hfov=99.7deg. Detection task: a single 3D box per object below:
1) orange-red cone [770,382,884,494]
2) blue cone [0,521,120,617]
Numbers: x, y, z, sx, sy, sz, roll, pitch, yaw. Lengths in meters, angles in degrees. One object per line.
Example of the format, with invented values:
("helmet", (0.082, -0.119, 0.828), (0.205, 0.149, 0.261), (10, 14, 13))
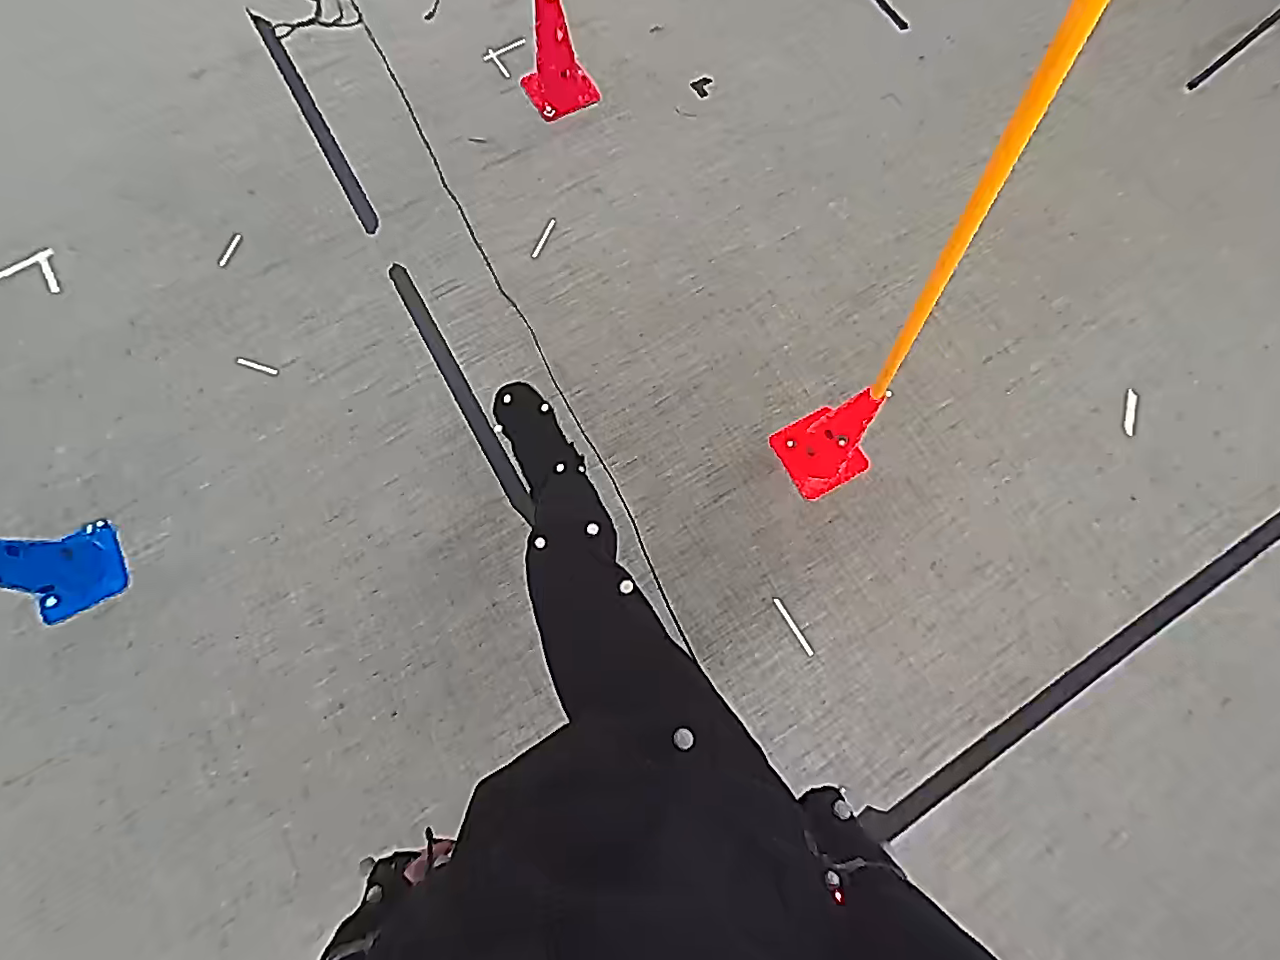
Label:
("orange-red cone", (0.456, -0.127, 1.214), (0.198, 0.360, 0.199), (-27, 77, -7))
("blue cone", (-1.366, 0.172, 1.151), (0.193, 0.380, 0.192), (-27, 75, -8))
